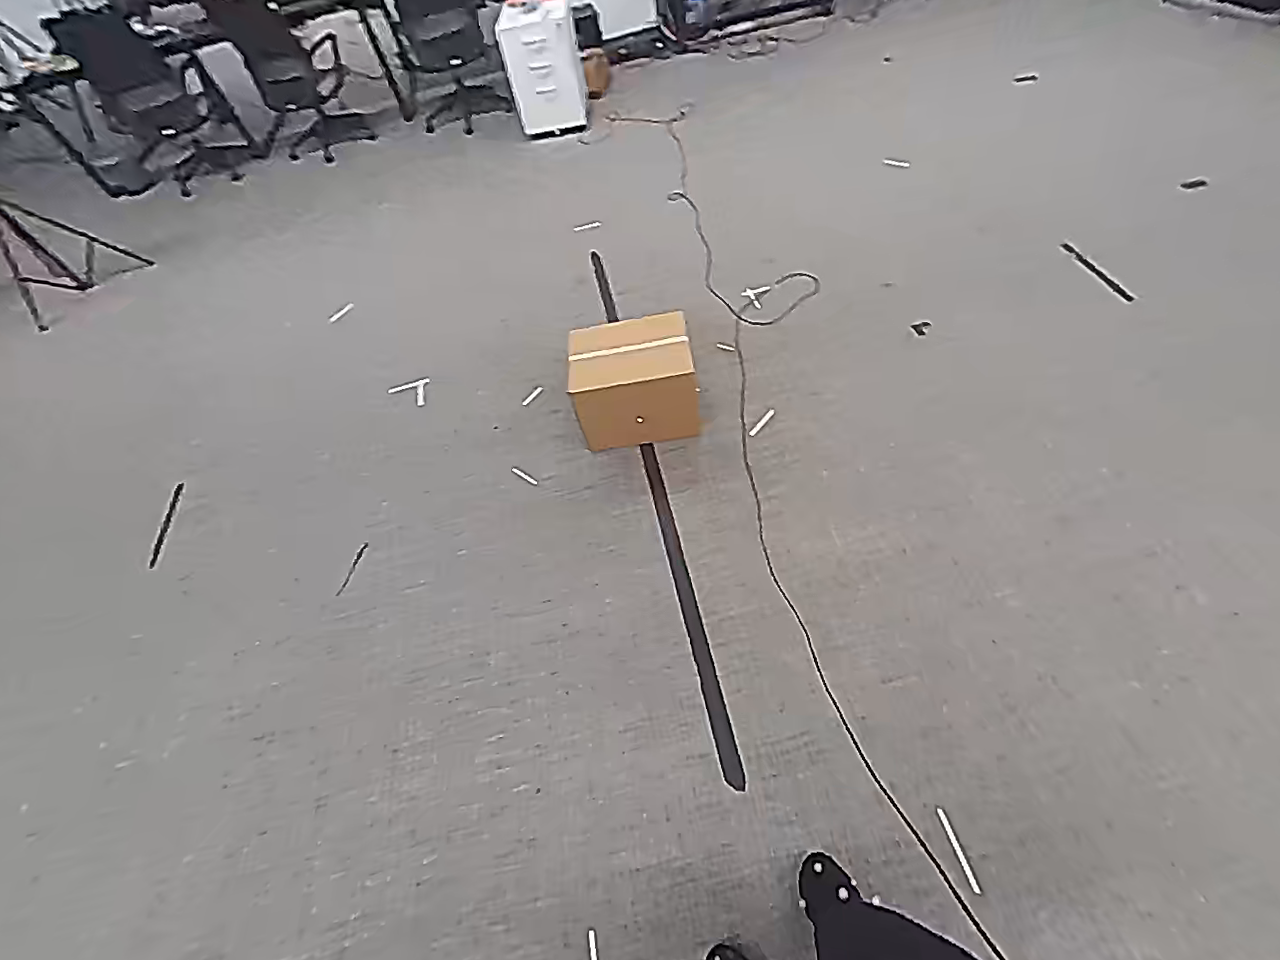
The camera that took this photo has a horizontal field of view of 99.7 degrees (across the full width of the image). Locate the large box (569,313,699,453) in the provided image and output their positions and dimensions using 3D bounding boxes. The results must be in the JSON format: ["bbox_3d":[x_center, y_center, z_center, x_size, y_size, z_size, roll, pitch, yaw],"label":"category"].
[{"bbox_3d":[-0.019,-0.332,1.897,0.408,0.320,0.320,-9,54,4],"label":"large box"}]
